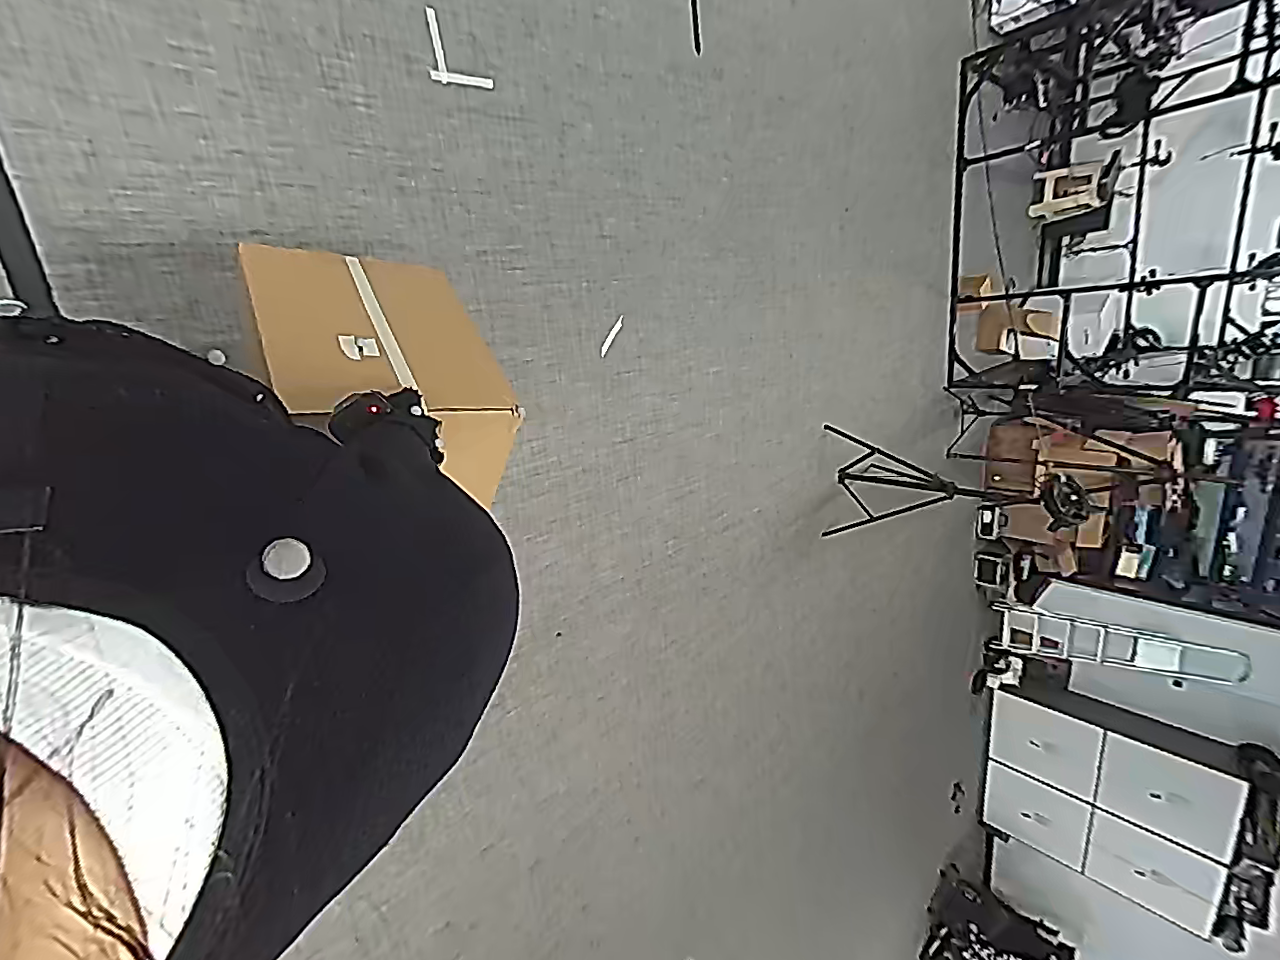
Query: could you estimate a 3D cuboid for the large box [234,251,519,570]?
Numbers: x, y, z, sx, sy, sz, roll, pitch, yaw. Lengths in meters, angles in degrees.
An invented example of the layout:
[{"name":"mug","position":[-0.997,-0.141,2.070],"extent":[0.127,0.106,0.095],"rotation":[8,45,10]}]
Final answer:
[{"name":"large box","position":[-0.461,-0.119,0.913],"extent":[0.320,0.408,0.320],"rotation":[-9,142,-39]}]
